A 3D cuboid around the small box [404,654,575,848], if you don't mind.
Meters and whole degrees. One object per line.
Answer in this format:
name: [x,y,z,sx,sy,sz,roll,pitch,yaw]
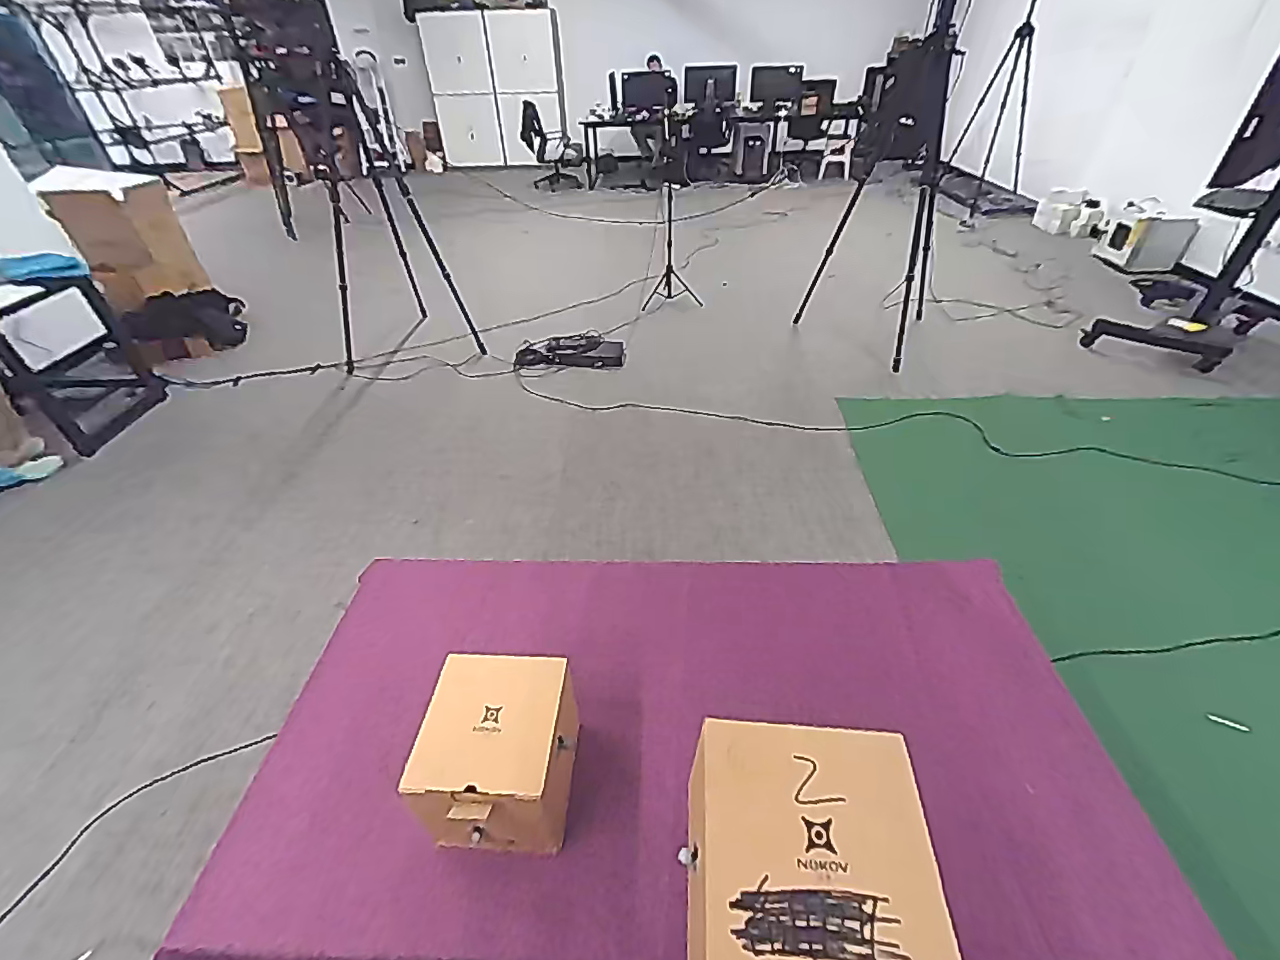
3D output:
small box: [-0.185,0.361,0.727,0.168,0.176,0.179,1,40,4]
